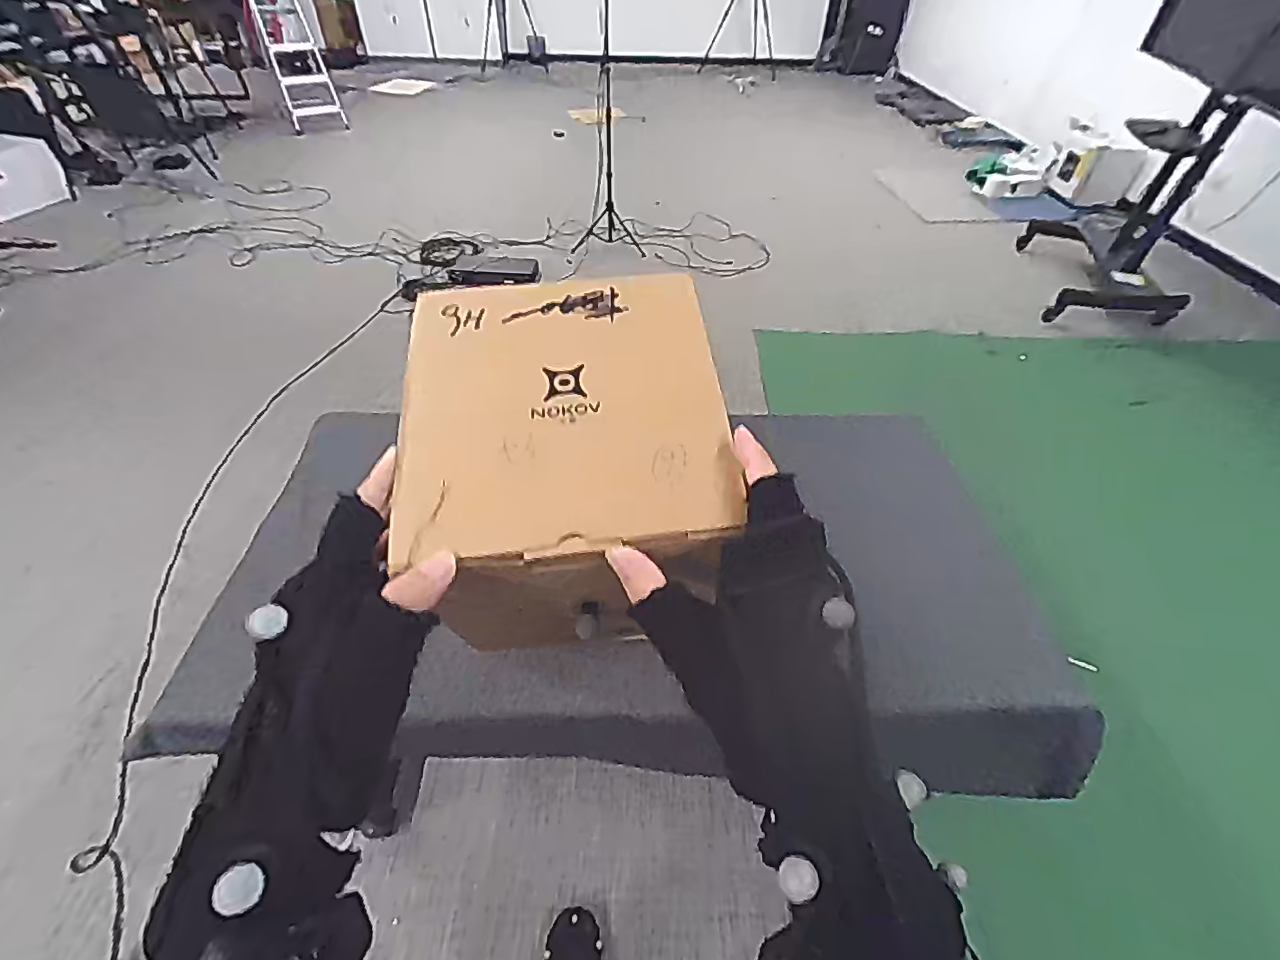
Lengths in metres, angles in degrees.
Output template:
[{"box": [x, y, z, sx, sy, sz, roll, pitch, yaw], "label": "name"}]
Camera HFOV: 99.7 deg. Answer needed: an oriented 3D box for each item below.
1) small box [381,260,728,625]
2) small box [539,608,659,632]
[{"box": [-0.047, -0.011, 0.356, 0.168, 0.176, 0.179, -7, 62, -4], "label": "small box"}, {"box": [-0.058, 0.103, 0.764, 0.179, 0.176, 0.168, 1, 47, -1], "label": "small box"}]
